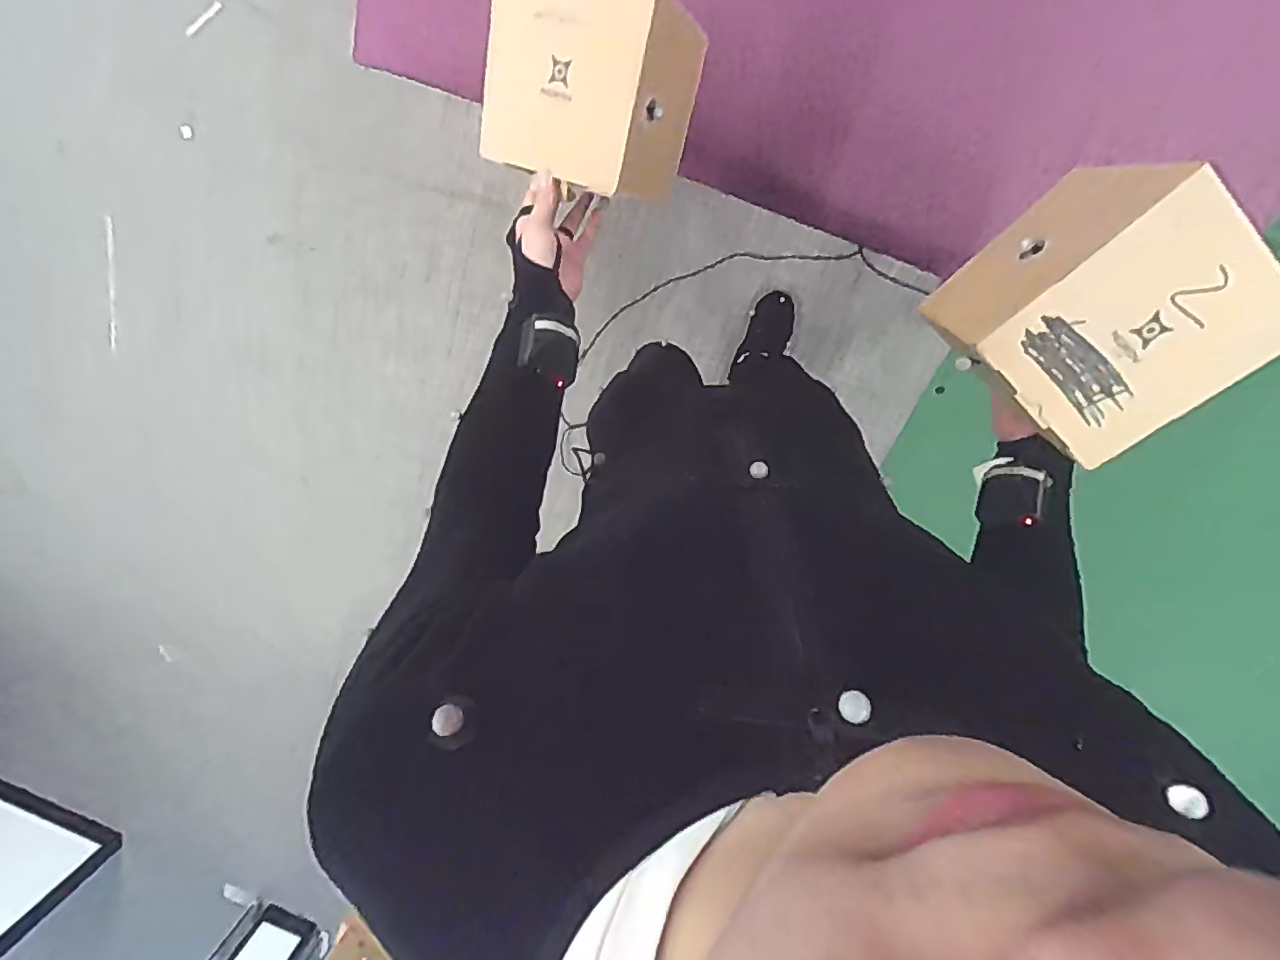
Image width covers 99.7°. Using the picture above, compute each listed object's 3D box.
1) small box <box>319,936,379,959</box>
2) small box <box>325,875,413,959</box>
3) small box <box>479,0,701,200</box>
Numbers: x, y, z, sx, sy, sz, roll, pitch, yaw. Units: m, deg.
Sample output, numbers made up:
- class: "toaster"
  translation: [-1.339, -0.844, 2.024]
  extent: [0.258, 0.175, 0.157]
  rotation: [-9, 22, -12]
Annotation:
- class: "small box"
  translation: [-0.833, 1.400, 1.464]
  extent: [0.168, 0.176, 0.179]
  rotation: [34, 109, -3]
- class: "small box"
  translation: [-0.810, 1.343, 1.616]
  extent: [0.168, 0.176, 0.179]
  rotation: [24, 110, 1]
- class: "small box"
  translation: [-0.048, -0.421, 0.588]
  extent: [0.168, 0.176, 0.179]
  rotation: [23, 118, 12]
